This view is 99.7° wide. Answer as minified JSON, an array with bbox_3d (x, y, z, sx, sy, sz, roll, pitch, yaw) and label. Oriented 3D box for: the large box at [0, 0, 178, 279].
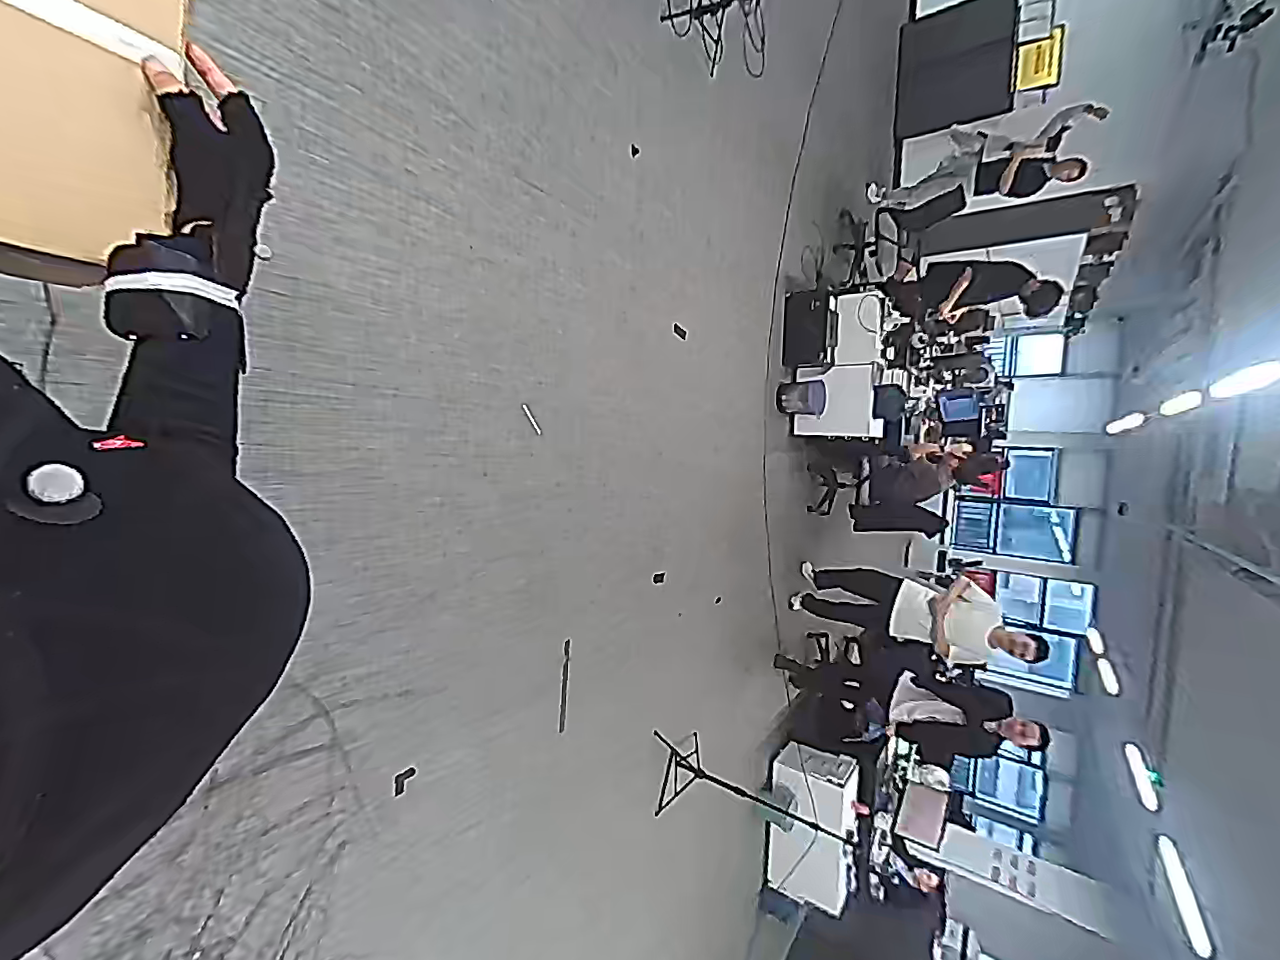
[{"bbox_3d":[-0.597,-0.337,0.335,0.408,0.320,0.320,-2,103,-57],"label":"large box"}]
